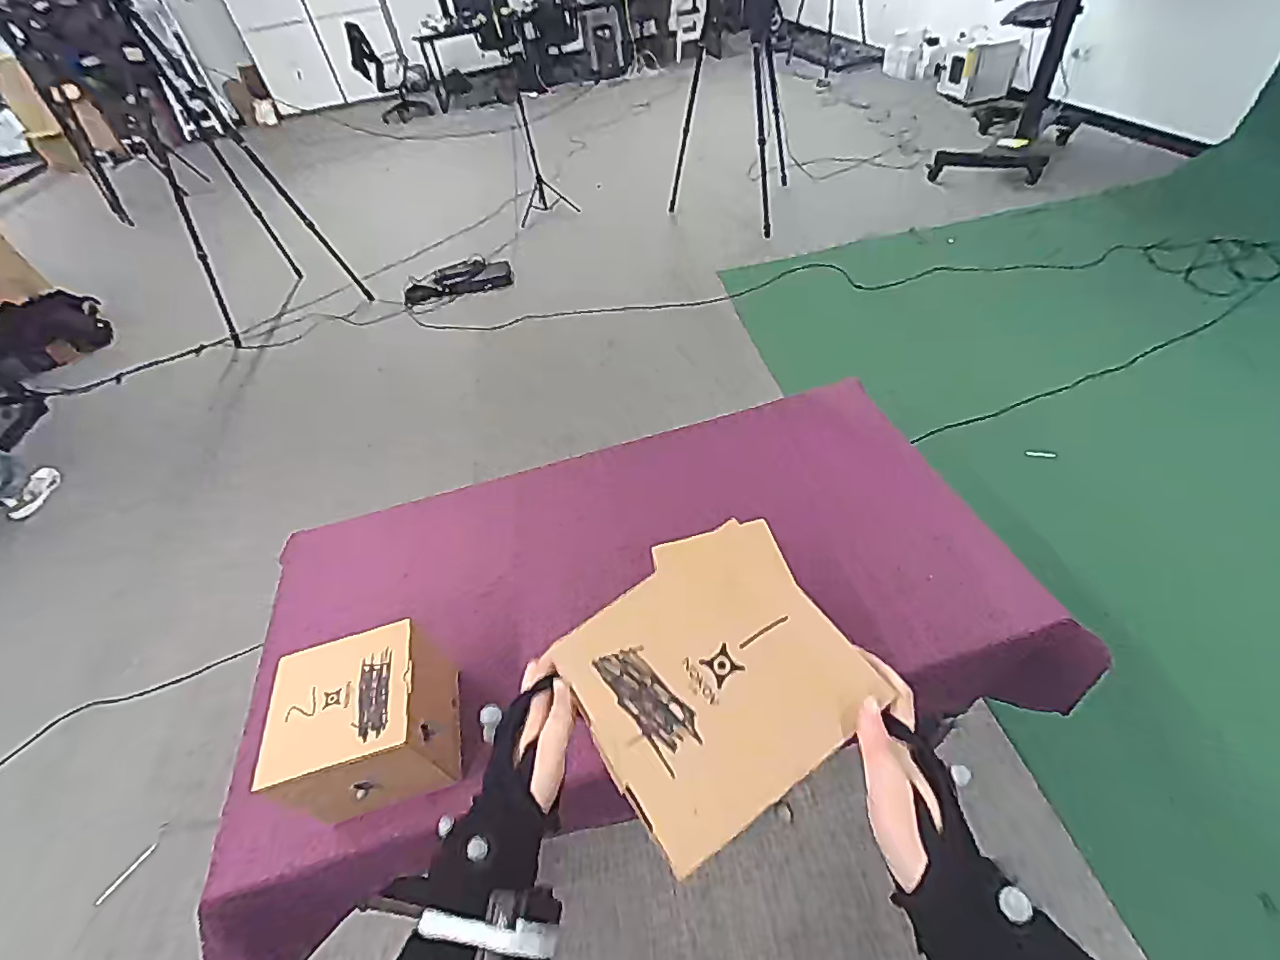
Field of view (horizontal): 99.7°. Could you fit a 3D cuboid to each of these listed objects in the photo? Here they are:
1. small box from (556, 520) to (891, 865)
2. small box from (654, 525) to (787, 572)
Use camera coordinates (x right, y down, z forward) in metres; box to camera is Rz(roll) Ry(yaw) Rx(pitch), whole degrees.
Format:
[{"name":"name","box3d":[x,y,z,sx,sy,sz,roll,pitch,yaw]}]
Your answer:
[{"name":"small box","box3d":[0.063,0.171,0.438,0.179,0.176,0.168,-33,59,-11]},{"name":"small box","box3d":[0.123,0.194,0.750,0.168,0.176,0.179,-13,46,-3]}]
